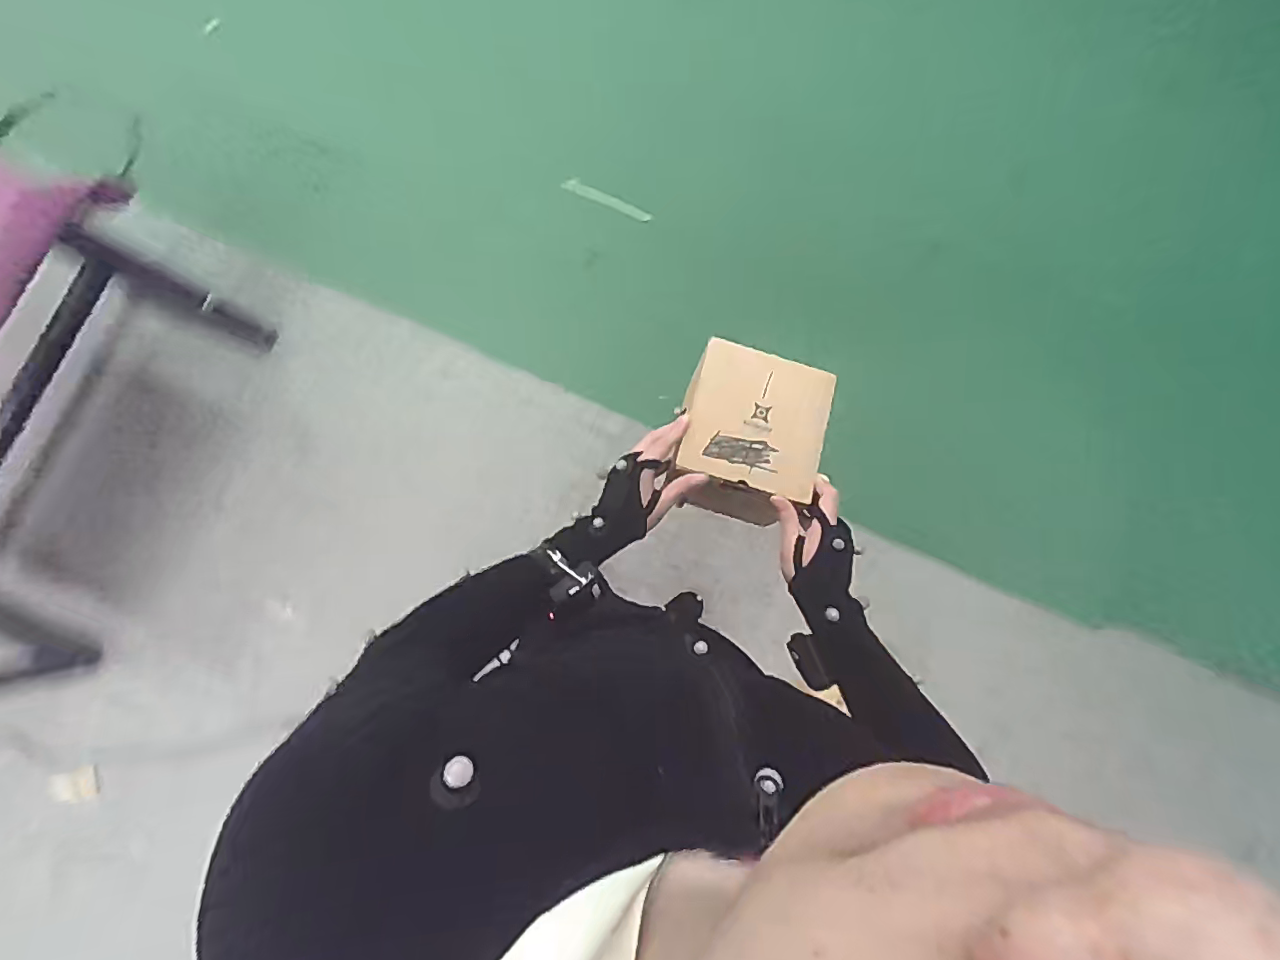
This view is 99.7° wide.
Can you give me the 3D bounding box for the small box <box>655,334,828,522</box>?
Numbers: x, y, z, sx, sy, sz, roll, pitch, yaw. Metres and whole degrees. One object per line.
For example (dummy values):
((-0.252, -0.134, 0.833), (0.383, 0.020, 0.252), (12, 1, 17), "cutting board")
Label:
((0.120, -0.054, 0.704), (0.168, 0.176, 0.179), (16, 75, -1), "small box")
